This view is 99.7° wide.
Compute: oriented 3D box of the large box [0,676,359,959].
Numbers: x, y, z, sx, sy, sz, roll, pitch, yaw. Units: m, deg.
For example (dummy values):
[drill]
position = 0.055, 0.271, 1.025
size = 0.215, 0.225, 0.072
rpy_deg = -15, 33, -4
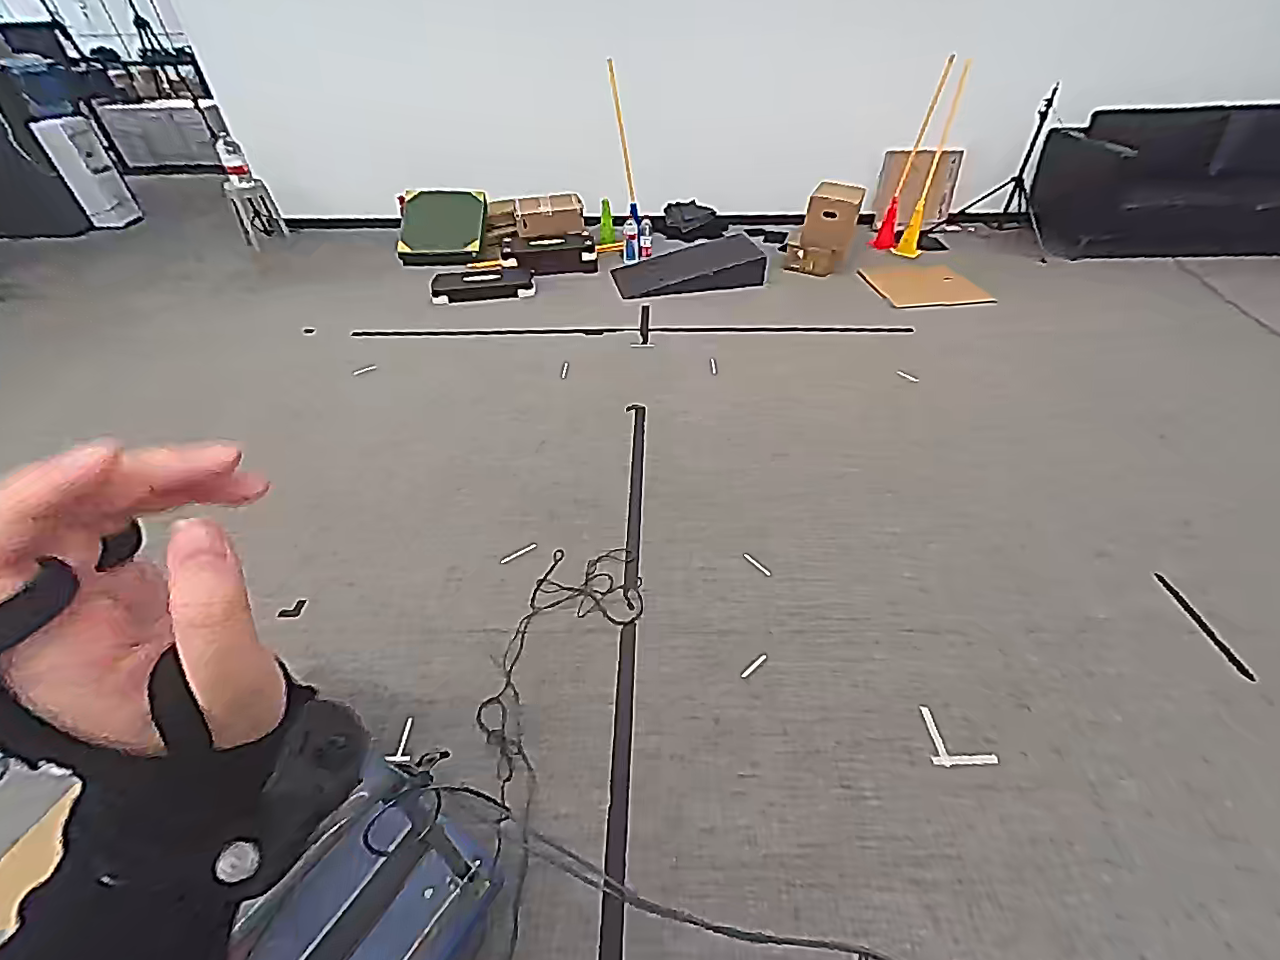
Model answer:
[large box]
position = -0.847, 0.672, 1.047
size = 0.320, 0.320, 0.408
rpy_deg = 12, 43, 13
